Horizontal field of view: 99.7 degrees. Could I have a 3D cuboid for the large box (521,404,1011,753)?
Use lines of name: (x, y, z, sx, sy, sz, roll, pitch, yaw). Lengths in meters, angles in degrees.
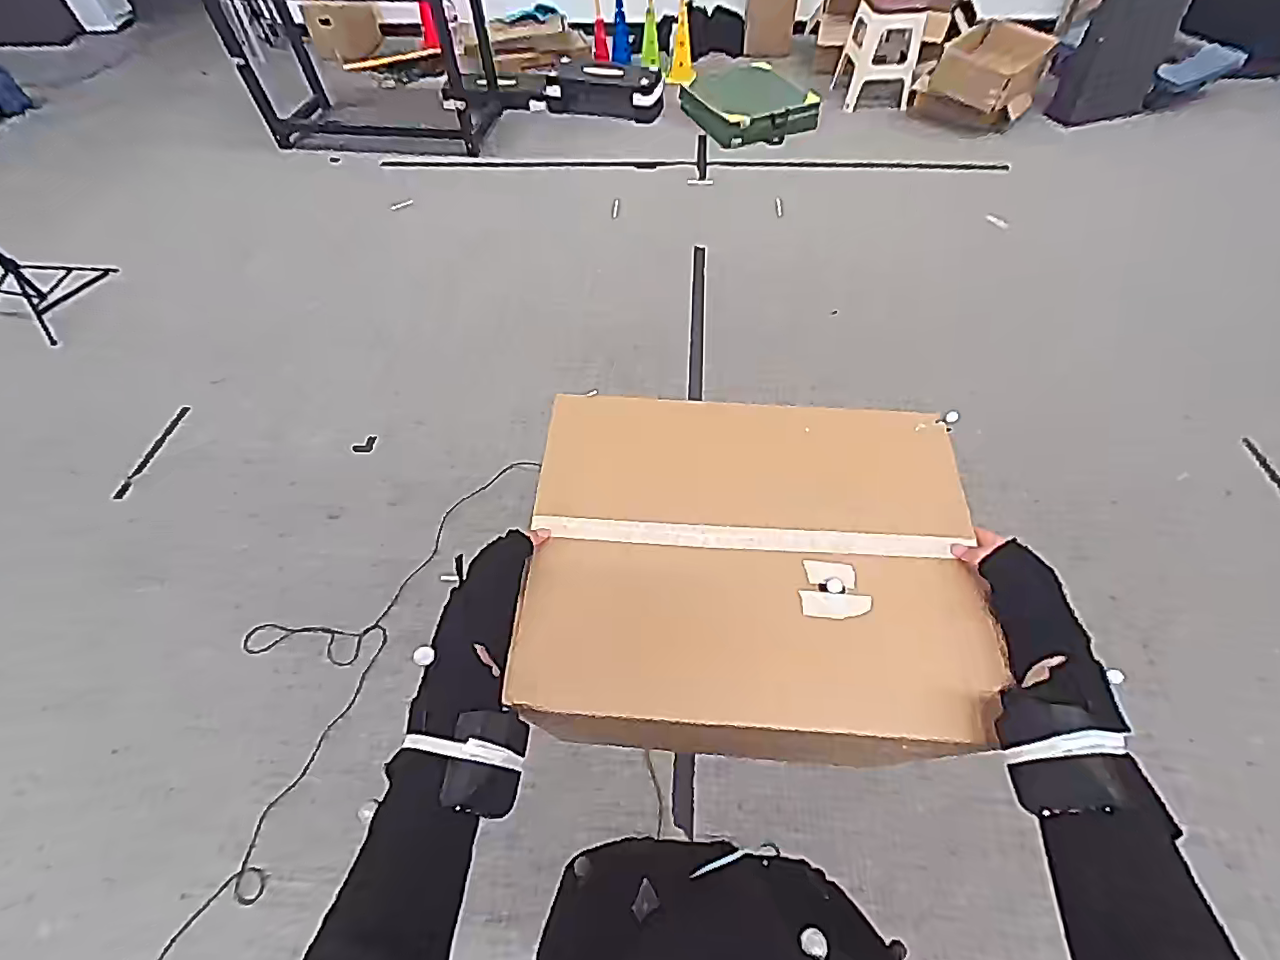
large box: (0.105, 0.131, 0.635, 0.408, 0.320, 0.320, 3, 61, 2)
